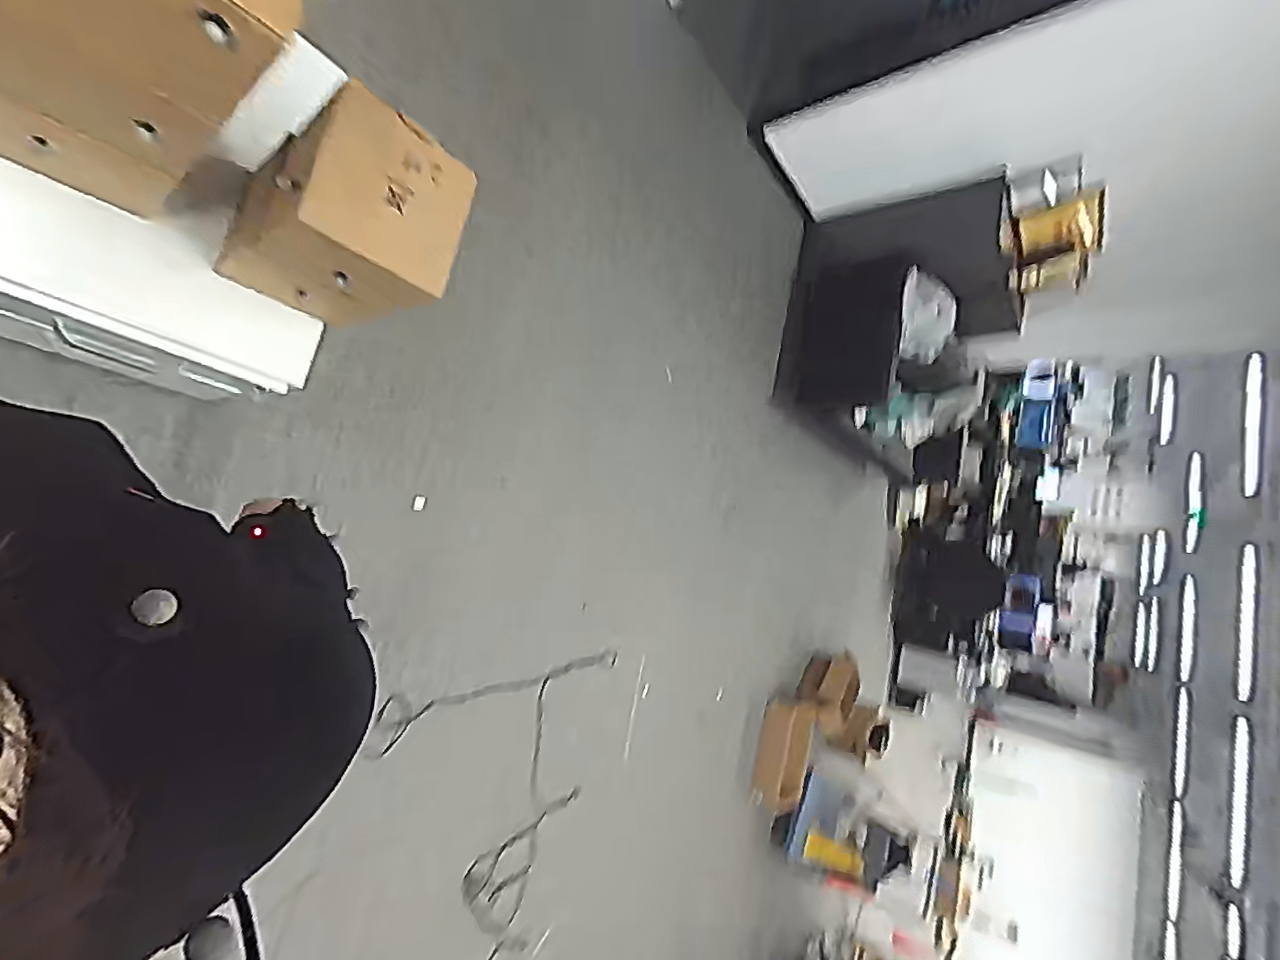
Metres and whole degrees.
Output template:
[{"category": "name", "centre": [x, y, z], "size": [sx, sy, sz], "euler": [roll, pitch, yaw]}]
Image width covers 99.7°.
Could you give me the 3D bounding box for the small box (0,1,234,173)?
[{"category": "small box", "centre": [-0.488, -0.416, 0.496], "size": [0.179, 0.176, 0.168], "euler": [16, 80, -51]}]

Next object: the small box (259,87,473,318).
[{"category": "small box", "centre": [-0.344, -0.324, 0.677], "size": [0.168, 0.176, 0.179], "euler": [24, 75, -48]}]
